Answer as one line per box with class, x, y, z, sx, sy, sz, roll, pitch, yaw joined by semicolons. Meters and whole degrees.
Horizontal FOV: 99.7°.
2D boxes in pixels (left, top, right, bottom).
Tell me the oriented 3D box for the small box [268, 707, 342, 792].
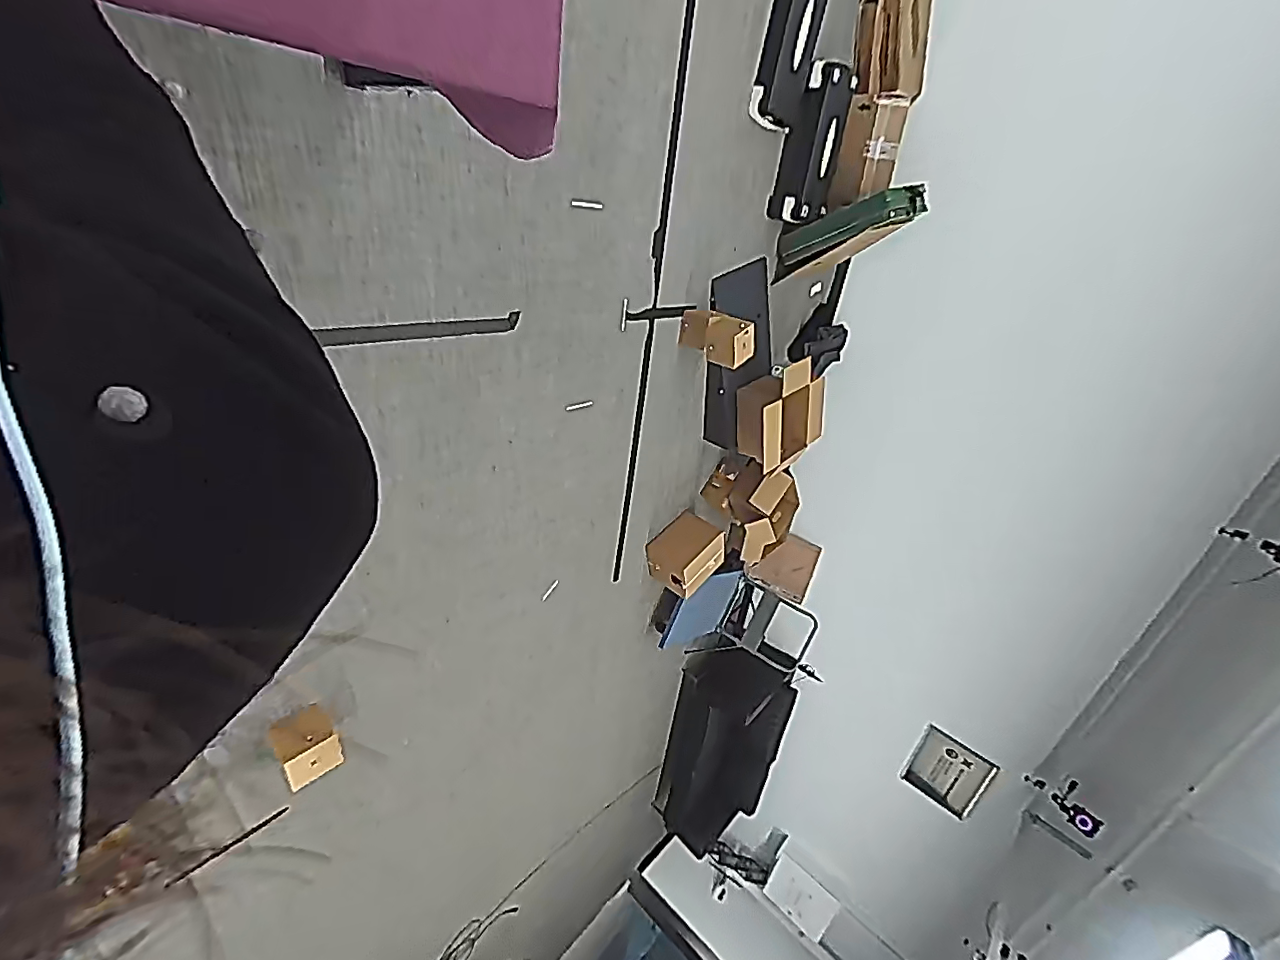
small box;-1.215;0.967;1.954;0.179;0.176;0.168;-25;133;-44
